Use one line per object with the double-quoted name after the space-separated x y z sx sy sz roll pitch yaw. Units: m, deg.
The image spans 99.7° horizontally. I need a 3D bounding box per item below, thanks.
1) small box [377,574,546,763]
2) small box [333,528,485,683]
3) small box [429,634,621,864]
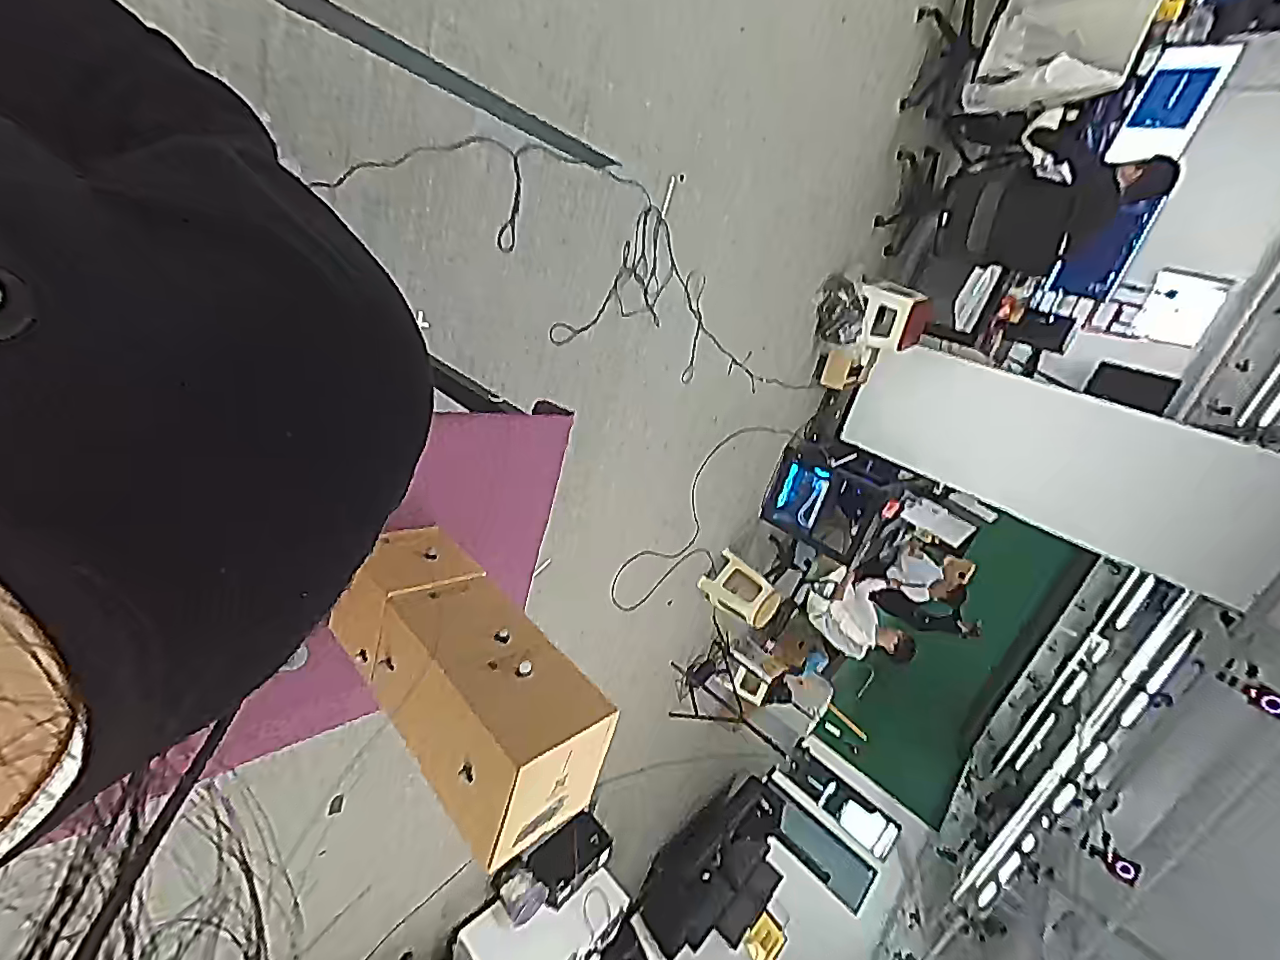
-0.273 0.269 0.811 0.168 0.176 0.179 -7 122 -50 "small box"
-0.388 0.192 0.900 0.168 0.176 0.179 -6 121 -50 "small box"
-0.158 0.339 0.716 0.168 0.176 0.179 -6 120 -50 "small box"
